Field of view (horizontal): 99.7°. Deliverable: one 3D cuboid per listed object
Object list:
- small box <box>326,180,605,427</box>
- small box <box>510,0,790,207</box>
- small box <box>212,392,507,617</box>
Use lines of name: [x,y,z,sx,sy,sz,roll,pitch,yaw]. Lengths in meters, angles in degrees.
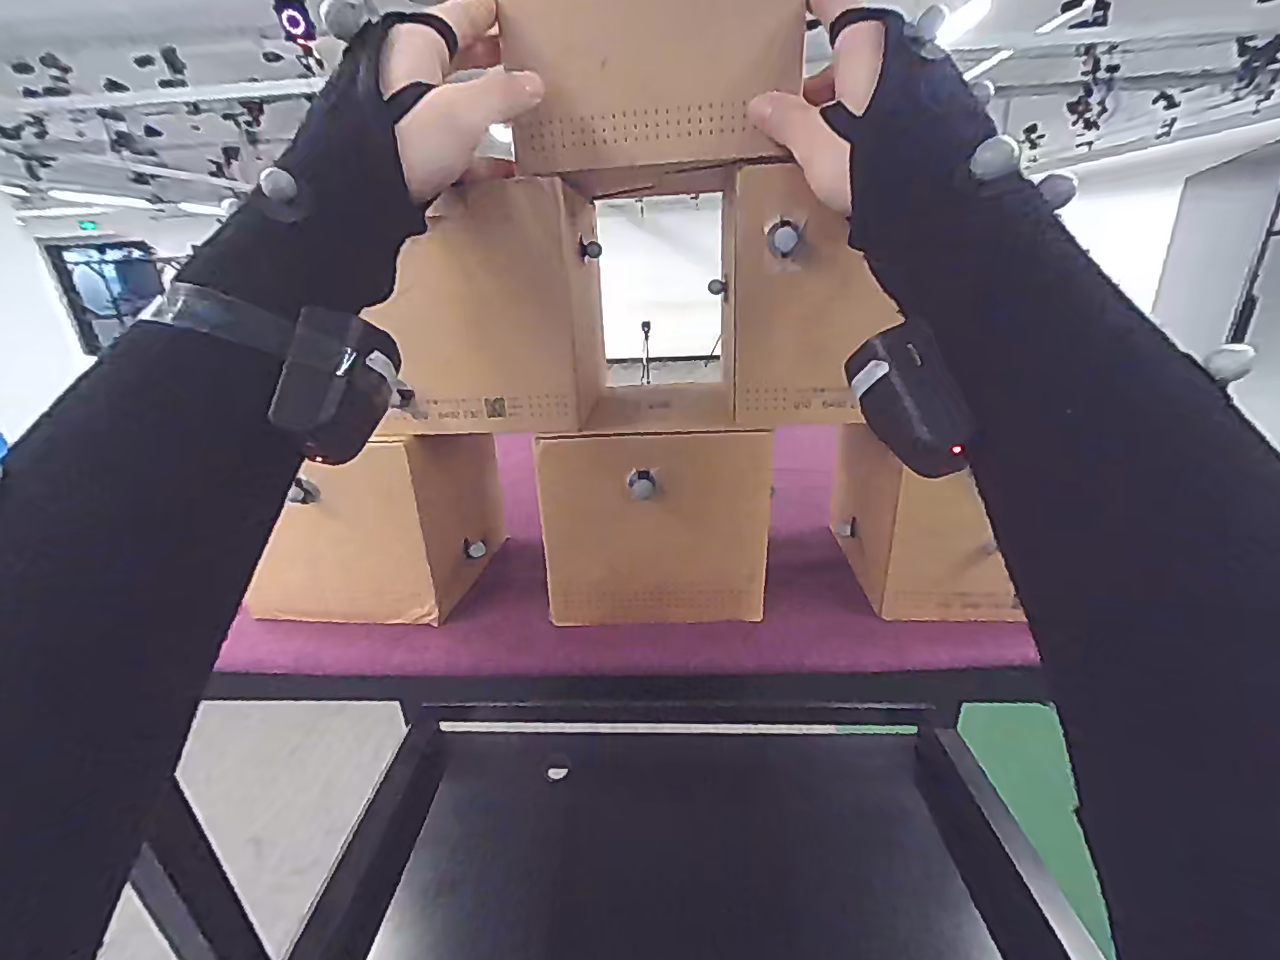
small box: [-0.122,-0.144,0.462,0.168,0.176,0.179,-1,20,4]
small box: [0.011,-0.298,0.390,0.179,0.176,0.168,-1,22,6]
small box: [-0.243,0.015,0.517,0.179,0.176,0.168,1,22,7]
